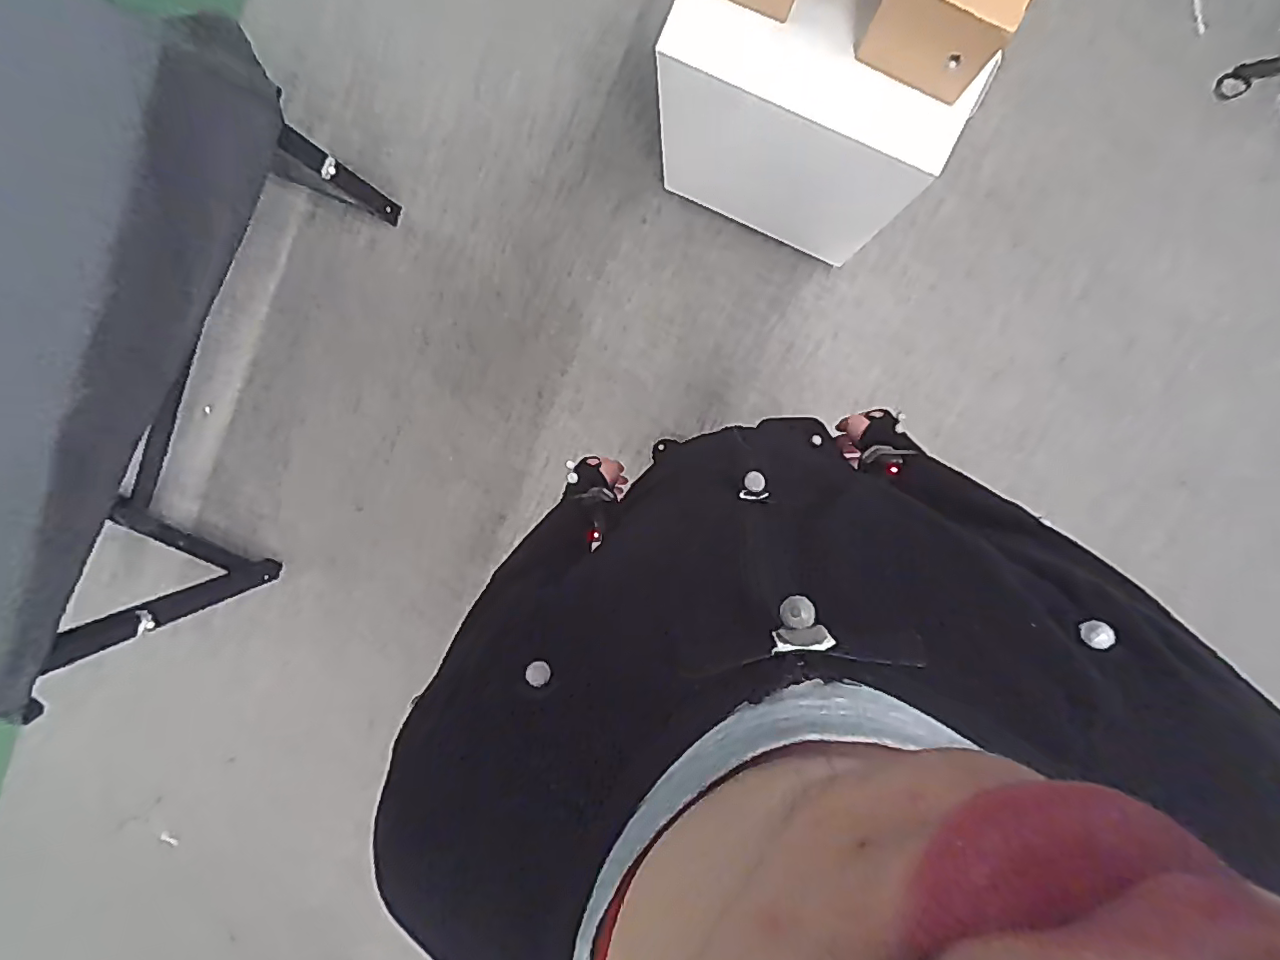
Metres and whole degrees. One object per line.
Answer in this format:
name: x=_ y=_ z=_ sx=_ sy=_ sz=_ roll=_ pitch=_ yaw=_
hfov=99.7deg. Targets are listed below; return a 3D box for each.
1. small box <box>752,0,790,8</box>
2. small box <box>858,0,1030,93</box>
small box: x=0.175 y=-0.827 z=0.757 sx=0.179 sy=0.176 sz=0.168 roll=24 pitch=99 yaw=-1
small box: x=0.443 y=-0.694 z=0.759 sx=0.179 sy=0.176 sz=0.168 roll=27 pitch=97 yaw=2
